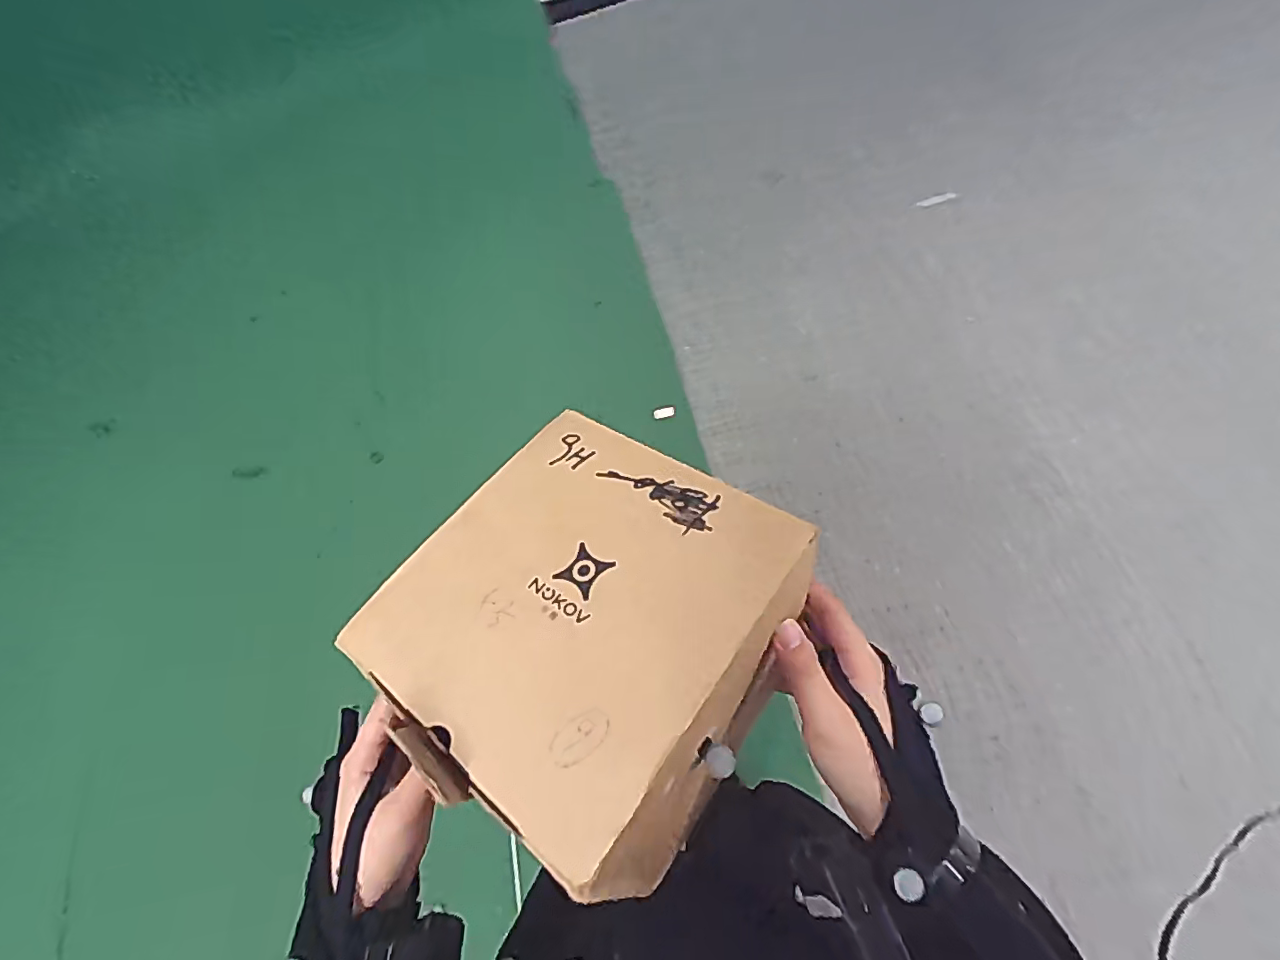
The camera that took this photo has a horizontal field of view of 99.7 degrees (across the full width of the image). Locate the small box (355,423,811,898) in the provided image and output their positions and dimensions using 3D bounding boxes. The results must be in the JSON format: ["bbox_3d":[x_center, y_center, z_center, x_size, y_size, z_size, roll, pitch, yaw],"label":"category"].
[{"bbox_3d":[-0.015,0.104,0.325,0.168,0.176,0.179,28,64,28],"label":"small box"}]
